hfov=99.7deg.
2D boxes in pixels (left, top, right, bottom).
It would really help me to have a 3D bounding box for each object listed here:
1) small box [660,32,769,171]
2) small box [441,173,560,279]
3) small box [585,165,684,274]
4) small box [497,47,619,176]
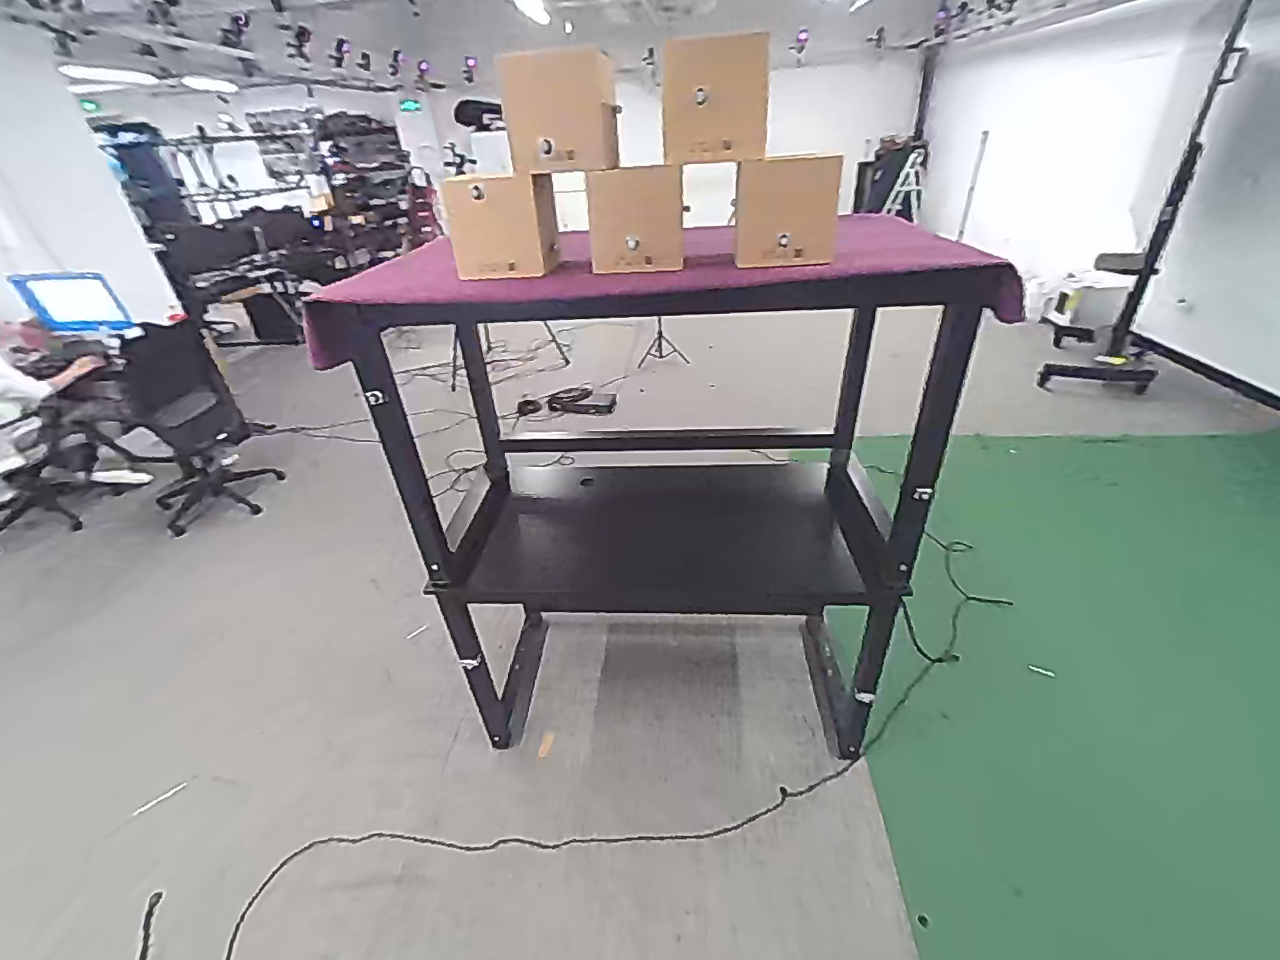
[{"bbox_3d":[0.125,-0.627,0.914,0.168,0.176,0.179,0,31,7],"label":"small box"},{"bbox_3d":[-0.254,-0.488,1.035,0.168,0.176,0.179,-1,31,5],"label":"small box"},{"bbox_3d":[-0.002,-0.490,1.014,0.168,0.176,0.179,0,32,6],"label":"small box"},{"bbox_3d":[-0.131,-0.630,0.943,0.168,0.176,0.179,0,32,7],"label":"small box"}]
